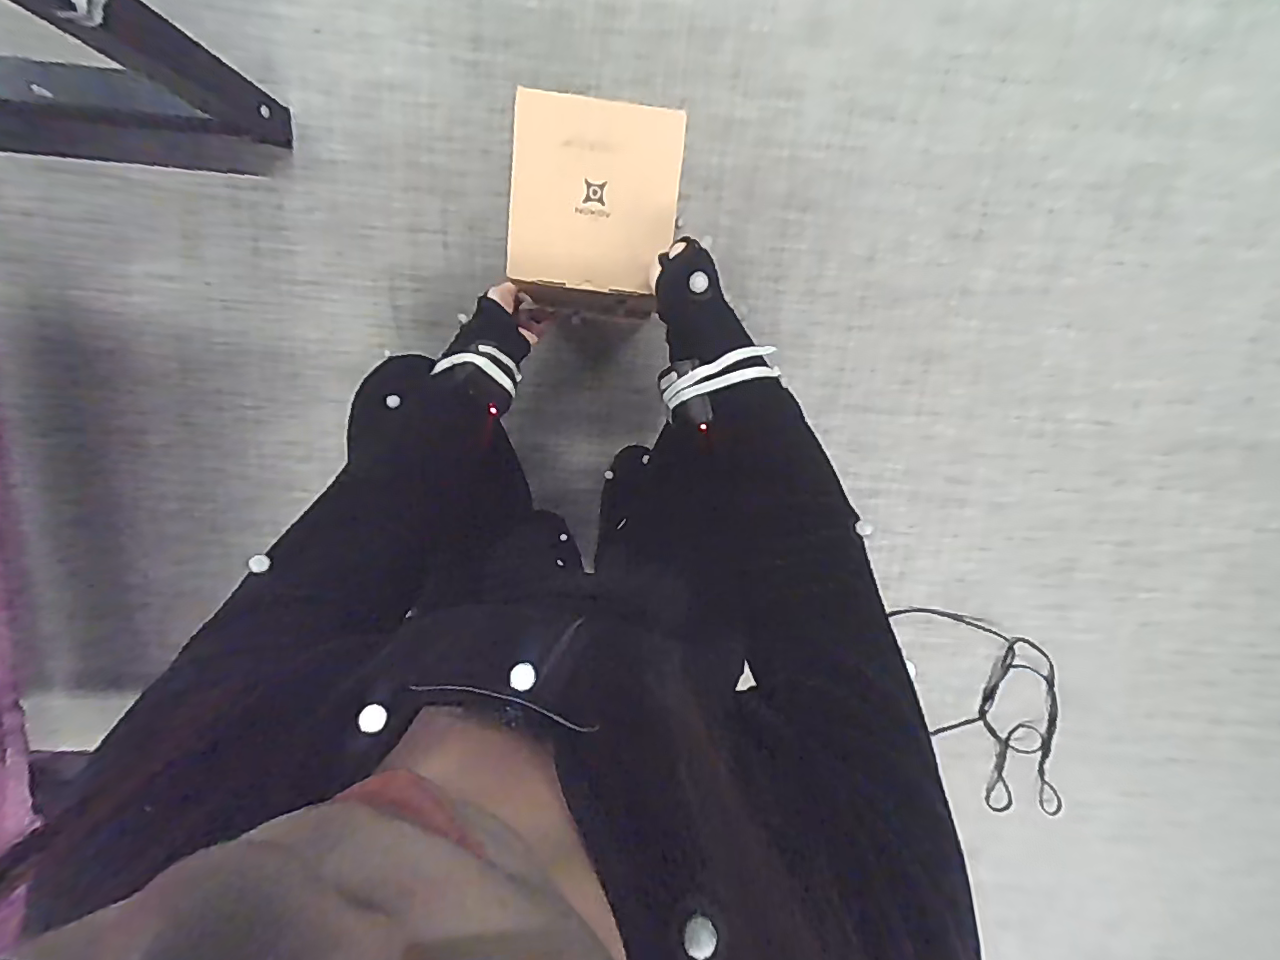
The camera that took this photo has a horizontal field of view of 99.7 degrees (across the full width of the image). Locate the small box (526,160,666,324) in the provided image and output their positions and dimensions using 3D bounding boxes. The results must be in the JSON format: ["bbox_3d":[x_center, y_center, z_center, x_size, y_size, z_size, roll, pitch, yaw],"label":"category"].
[{"bbox_3d":[-0.061,-0.324,0.776,0.168,0.176,0.179,7,103,-5],"label":"small box"}]
